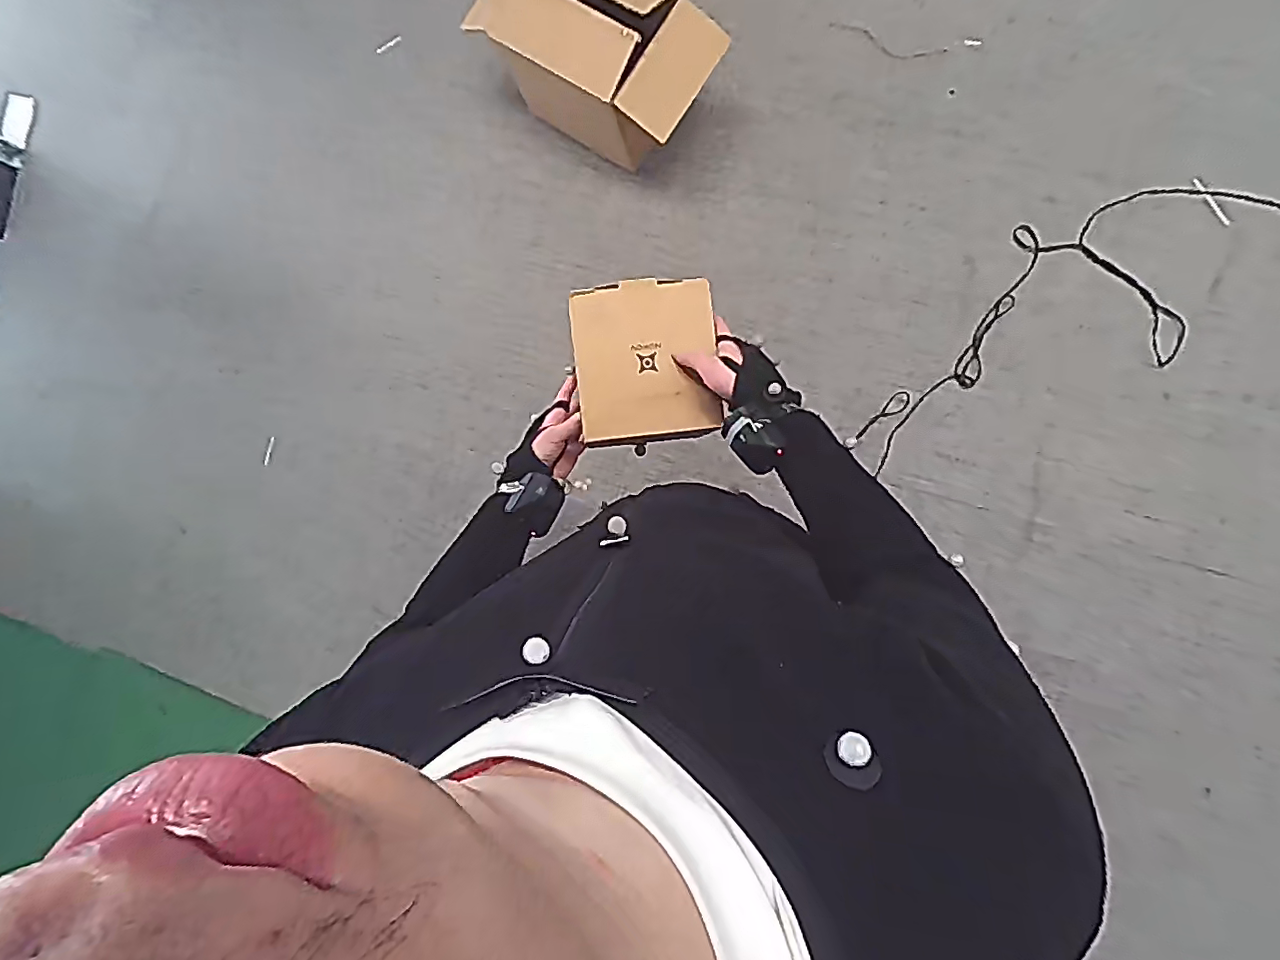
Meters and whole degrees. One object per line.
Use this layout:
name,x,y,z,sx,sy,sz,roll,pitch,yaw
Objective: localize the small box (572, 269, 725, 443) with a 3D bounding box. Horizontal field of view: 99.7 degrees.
small box,0.006,-0.144,0.677,0.168,0.176,0.179,-4,90,-2
